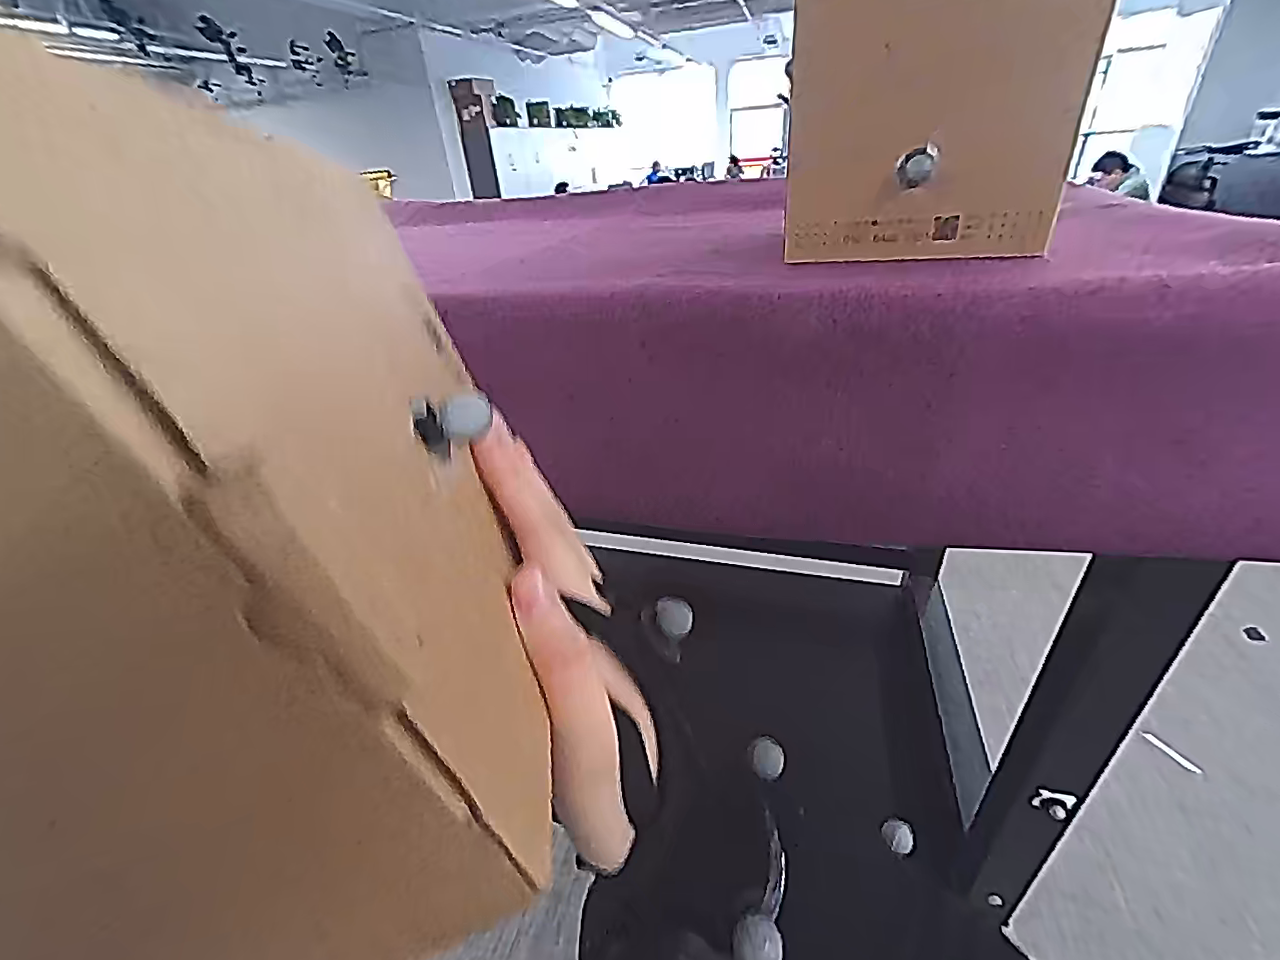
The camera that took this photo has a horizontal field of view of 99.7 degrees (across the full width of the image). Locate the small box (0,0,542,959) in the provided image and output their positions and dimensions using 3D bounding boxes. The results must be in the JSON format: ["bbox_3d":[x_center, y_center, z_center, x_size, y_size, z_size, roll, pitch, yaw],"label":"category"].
[{"bbox_3d":[-0.140,0.009,0.150,0.179,0.168,0.176,-22,23,0],"label":"small box"}]

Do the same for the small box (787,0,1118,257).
[{"bbox_3d":[0.201,-0.265,0.392,0.168,0.176,0.179,6,33,19],"label":"small box"}]
